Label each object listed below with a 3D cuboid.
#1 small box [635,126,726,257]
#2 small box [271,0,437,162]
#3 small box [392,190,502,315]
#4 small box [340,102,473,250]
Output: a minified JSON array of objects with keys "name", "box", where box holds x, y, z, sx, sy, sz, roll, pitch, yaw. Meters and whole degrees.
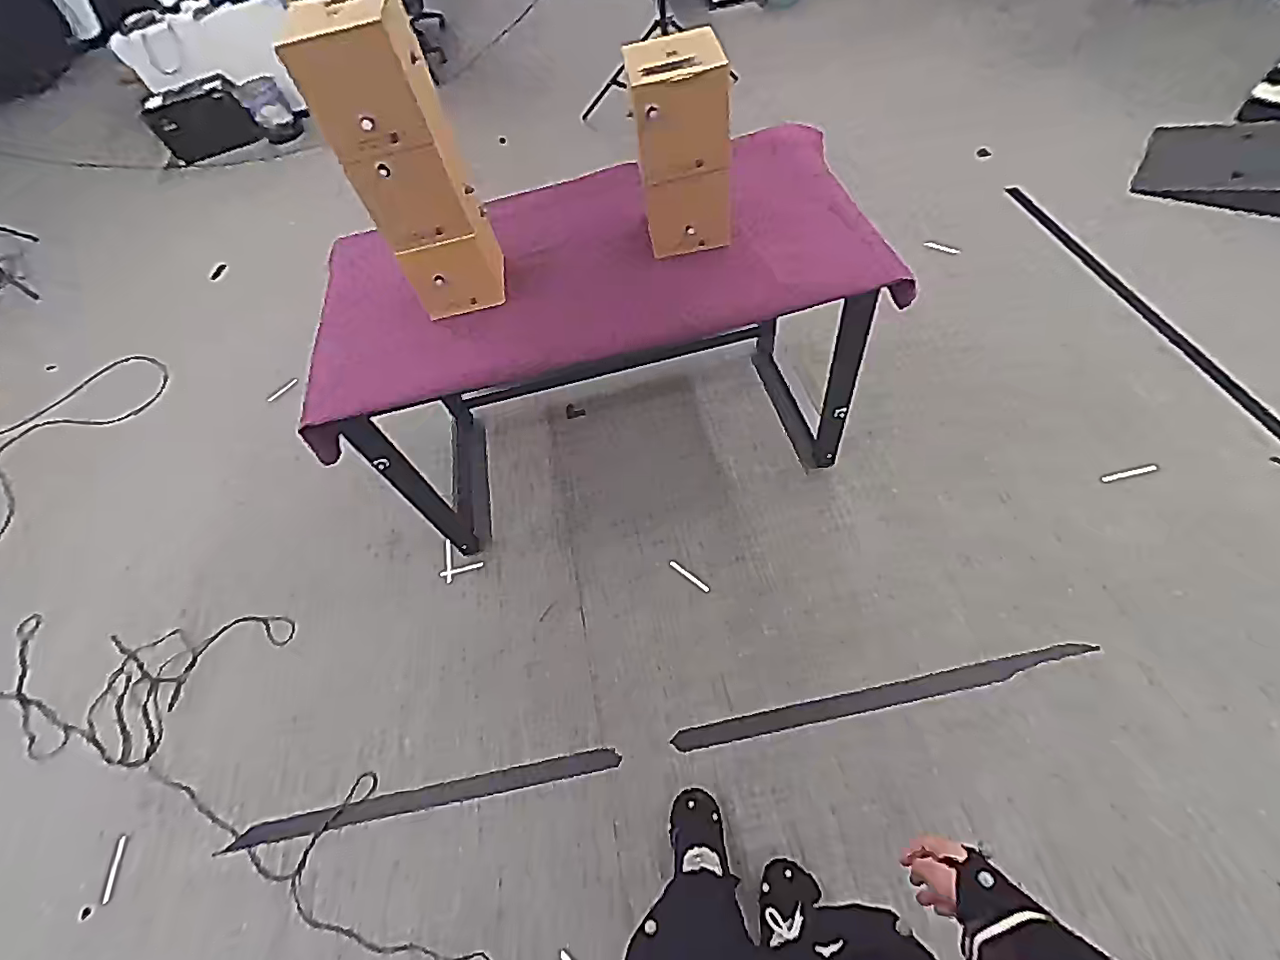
[{"name":"small box","box":[0.087,-0.605,1.142,0.168,0.176,0.179,-10,57,5]},{"name":"small box","box":[-0.443,-0.650,0.871,0.168,0.176,0.179,-13,57,2]},{"name":"small box","box":[-0.399,-0.472,1.144,0.168,0.176,0.179,-13,56,2]},{"name":"small box","box":[-0.424,-0.563,1.010,0.168,0.176,0.179,-14,56,1]}]
